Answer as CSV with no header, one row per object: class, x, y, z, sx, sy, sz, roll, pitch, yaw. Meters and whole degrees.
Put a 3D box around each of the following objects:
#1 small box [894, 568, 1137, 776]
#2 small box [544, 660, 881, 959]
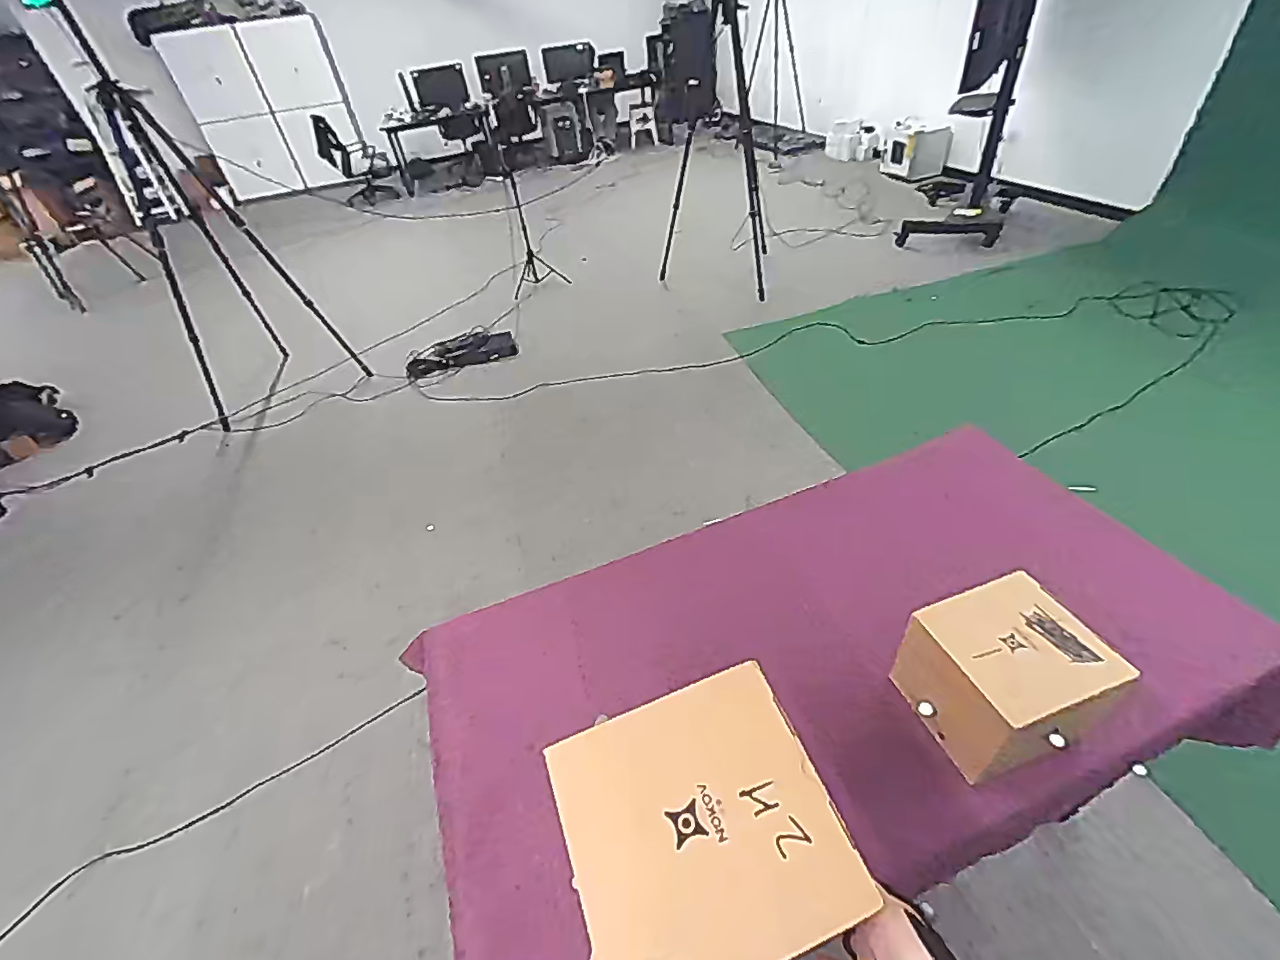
small box,0.466,0.250,0.706,0.179,0.176,0.168,-18,42,-8
small box,0.045,0.272,0.416,0.179,0.176,0.168,-19,53,-9
